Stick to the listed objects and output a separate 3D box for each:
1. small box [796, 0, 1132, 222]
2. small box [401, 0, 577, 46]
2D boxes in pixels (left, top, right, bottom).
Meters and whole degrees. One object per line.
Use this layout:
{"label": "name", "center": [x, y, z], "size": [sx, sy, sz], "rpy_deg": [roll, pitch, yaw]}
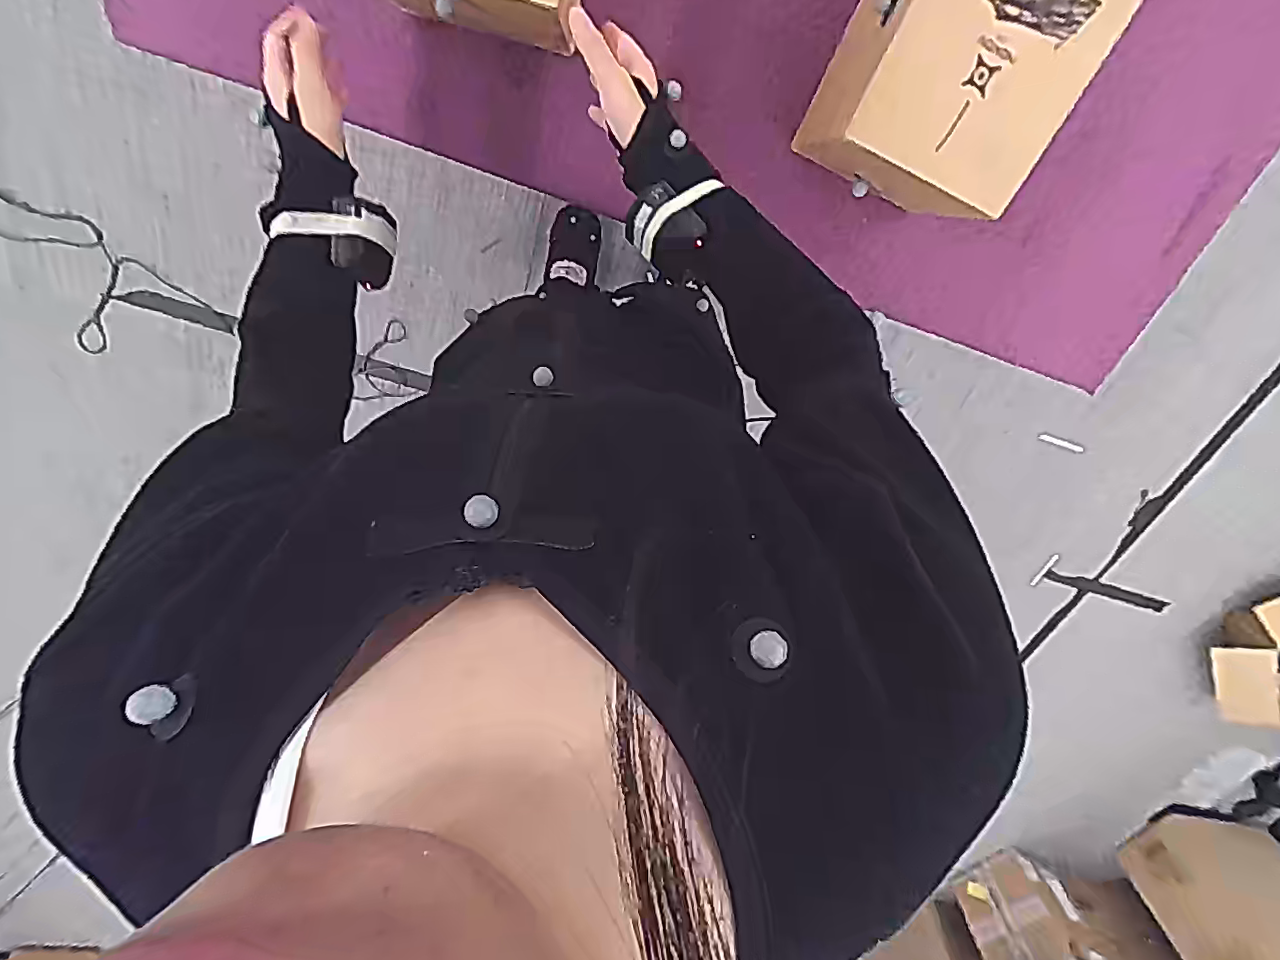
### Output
{"label": "small box", "center": [0.271, -0.369, 0.505], "size": [0.168, 0.176, 0.179], "rpy_deg": [20, 117, -12]}
{"label": "small box", "center": [-0.132, -0.481, 0.433], "size": [0.179, 0.176, 0.168], "rpy_deg": [11, 118, -7]}
